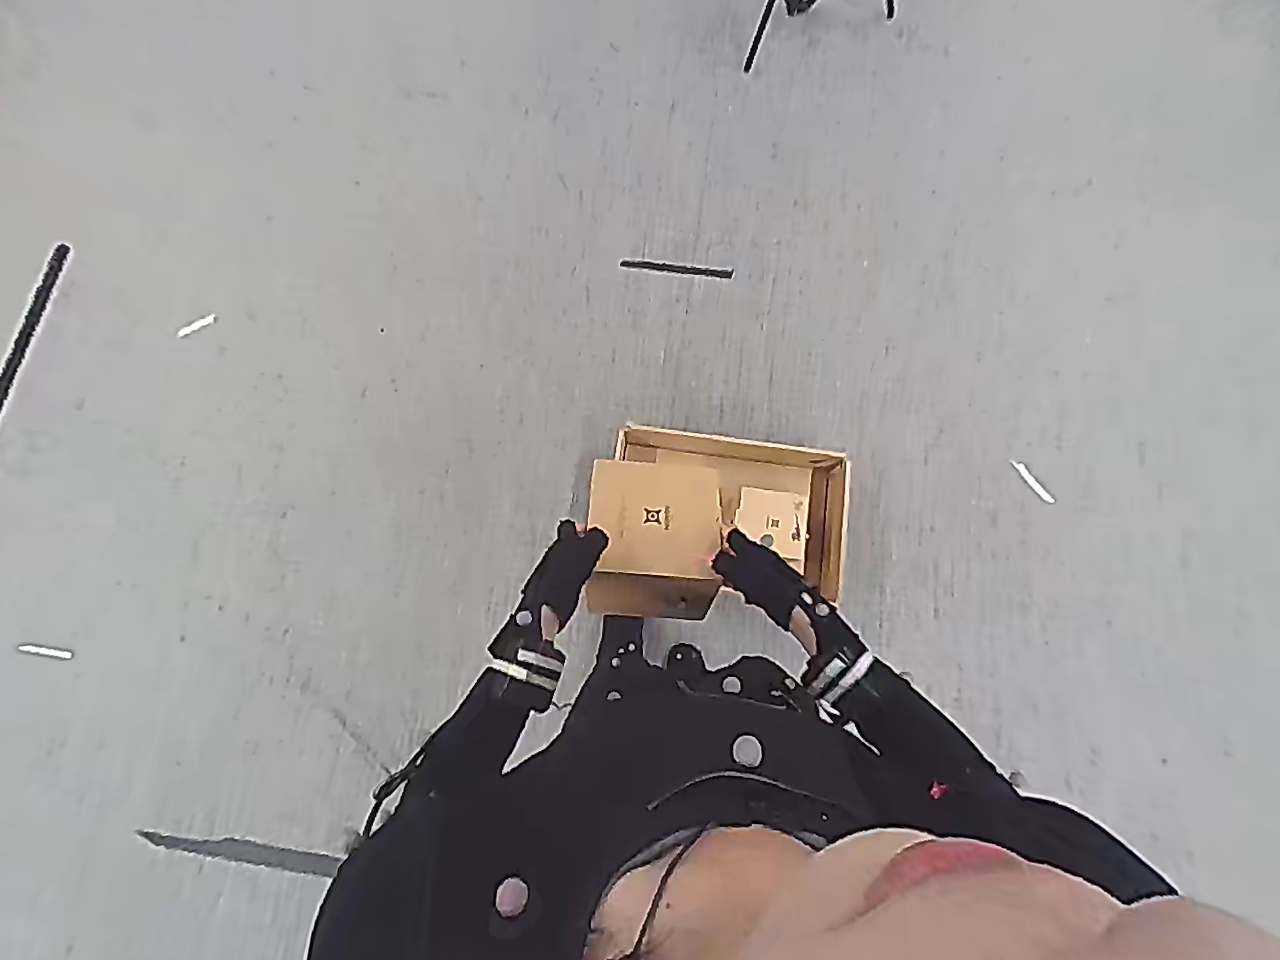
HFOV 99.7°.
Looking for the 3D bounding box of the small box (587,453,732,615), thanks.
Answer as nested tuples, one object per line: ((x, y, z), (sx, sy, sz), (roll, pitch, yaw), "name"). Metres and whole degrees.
((0.023, 0.082, 0.751), (0.179, 0.176, 0.168), (3, 59, -1), "small box")

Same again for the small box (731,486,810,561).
((0.339, 0.122, 1.440), (0.179, 0.176, 0.168), (8, 79, 4), "small box")
